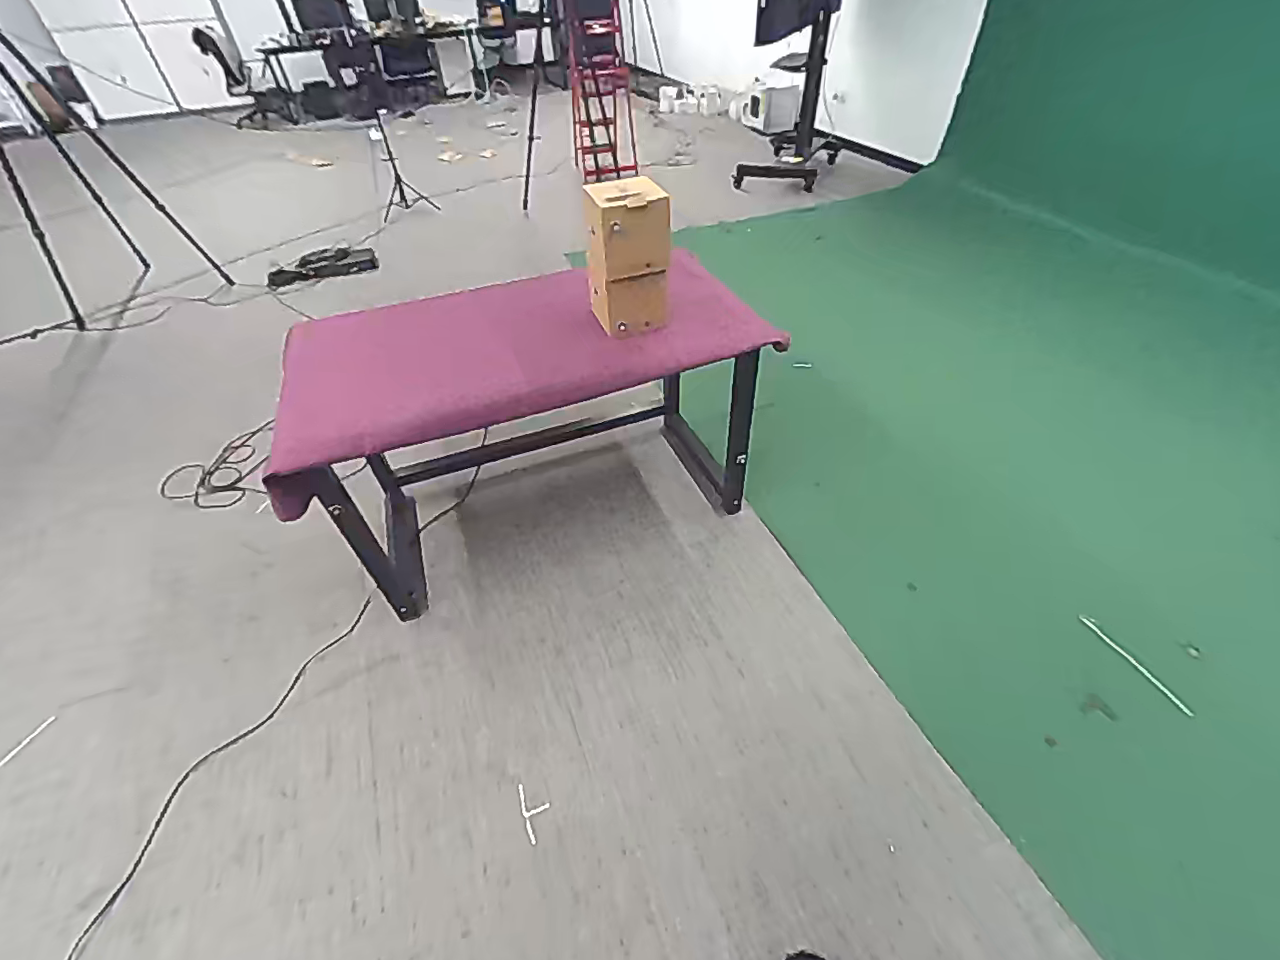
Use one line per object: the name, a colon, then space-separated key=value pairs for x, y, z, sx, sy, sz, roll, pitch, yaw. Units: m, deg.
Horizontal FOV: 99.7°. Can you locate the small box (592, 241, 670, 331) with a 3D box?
small box: x=-0.024 y=-0.509 z=1.433 sx=0.168 sy=0.176 sz=0.179 roll=-13 pitch=46 yaw=-11
